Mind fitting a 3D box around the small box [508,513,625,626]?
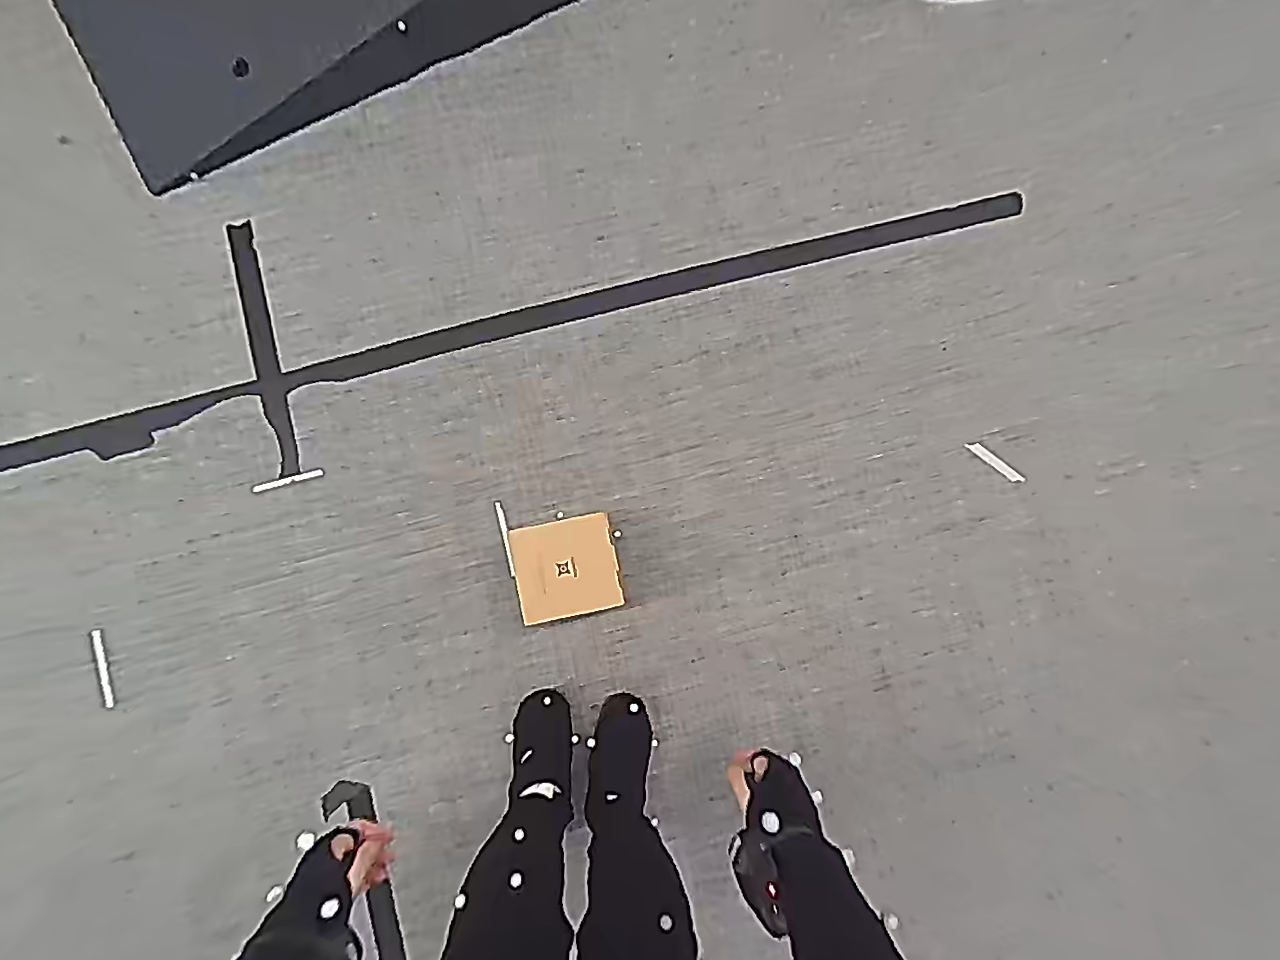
[{"bbox_3d":[-0.127,0.154,0.989,0.179,0.176,0.168,-11,87,-2],"label":"small box"}]
